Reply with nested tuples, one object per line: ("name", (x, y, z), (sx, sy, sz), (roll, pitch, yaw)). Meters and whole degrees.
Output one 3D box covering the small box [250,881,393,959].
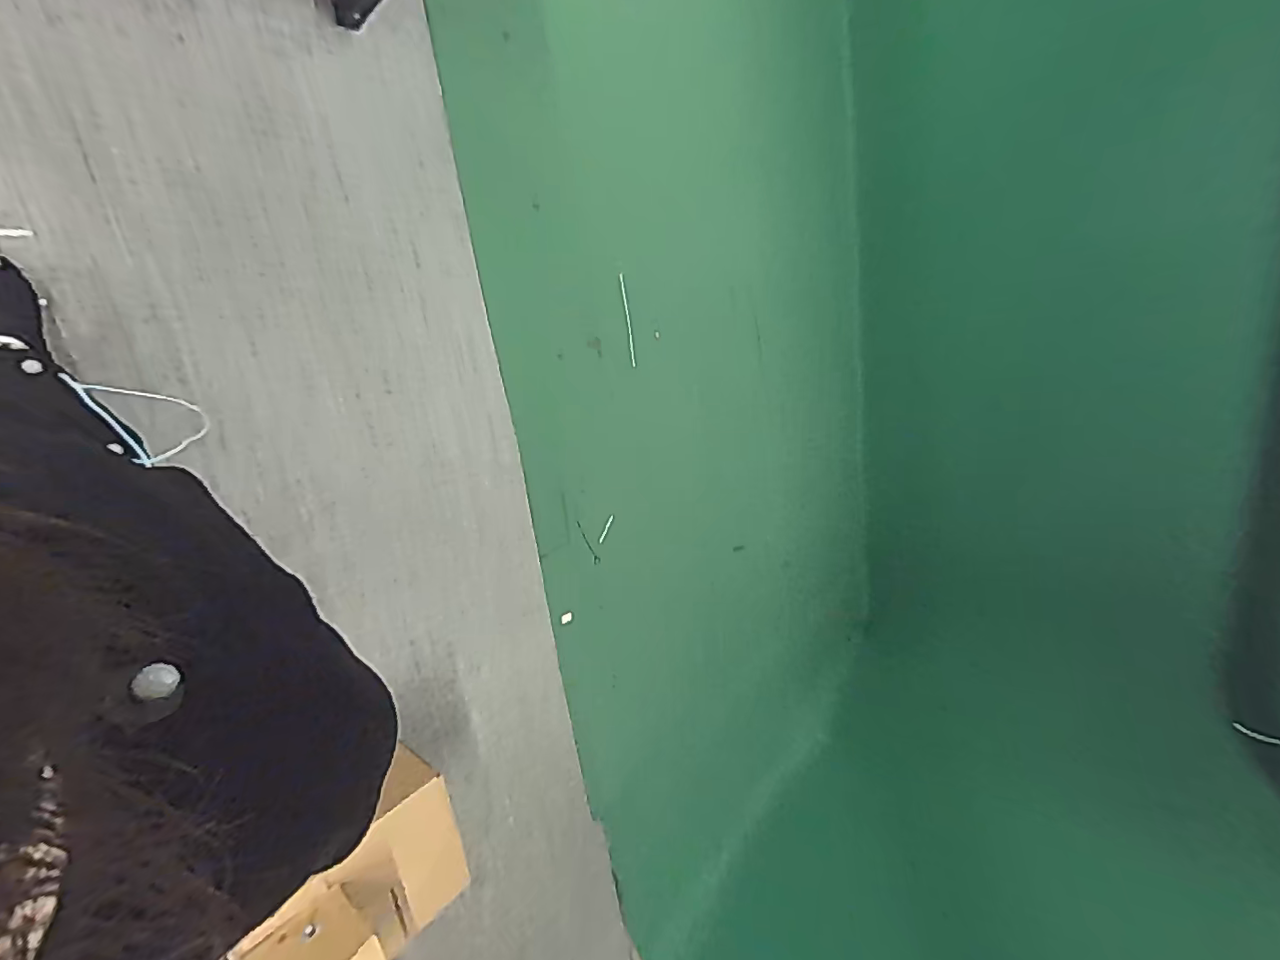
("small box", (-0.551, 0.873, 0.957), (0.168, 0.176, 0.179), (-25, 112, -45))
